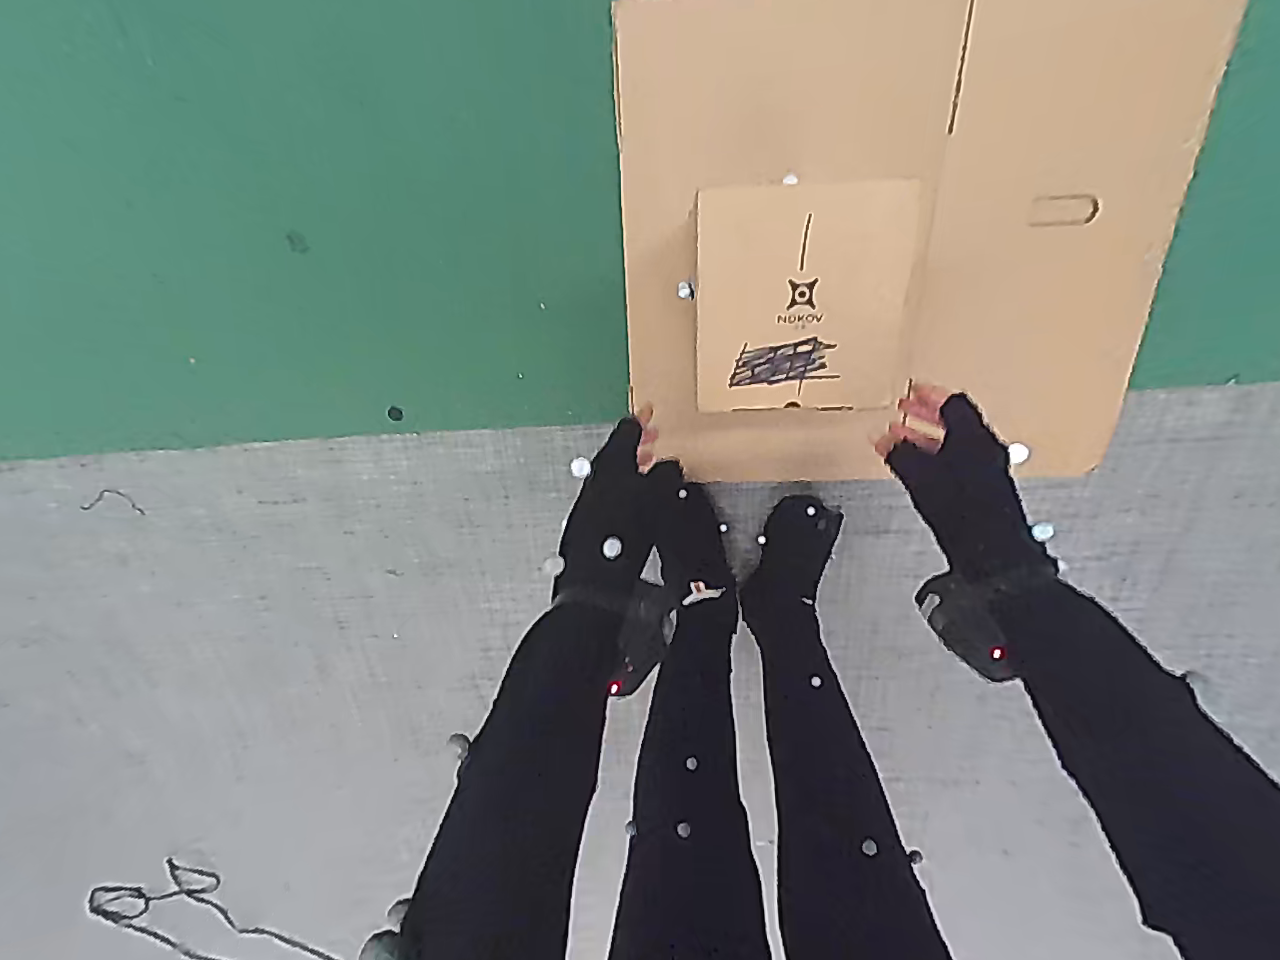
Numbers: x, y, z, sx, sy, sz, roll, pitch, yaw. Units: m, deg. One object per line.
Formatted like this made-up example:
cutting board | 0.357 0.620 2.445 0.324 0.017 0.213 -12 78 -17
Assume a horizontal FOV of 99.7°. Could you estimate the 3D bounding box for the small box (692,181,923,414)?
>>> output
small box | 0.134 -0.169 0.505 0.168 0.176 0.179 0 112 5
